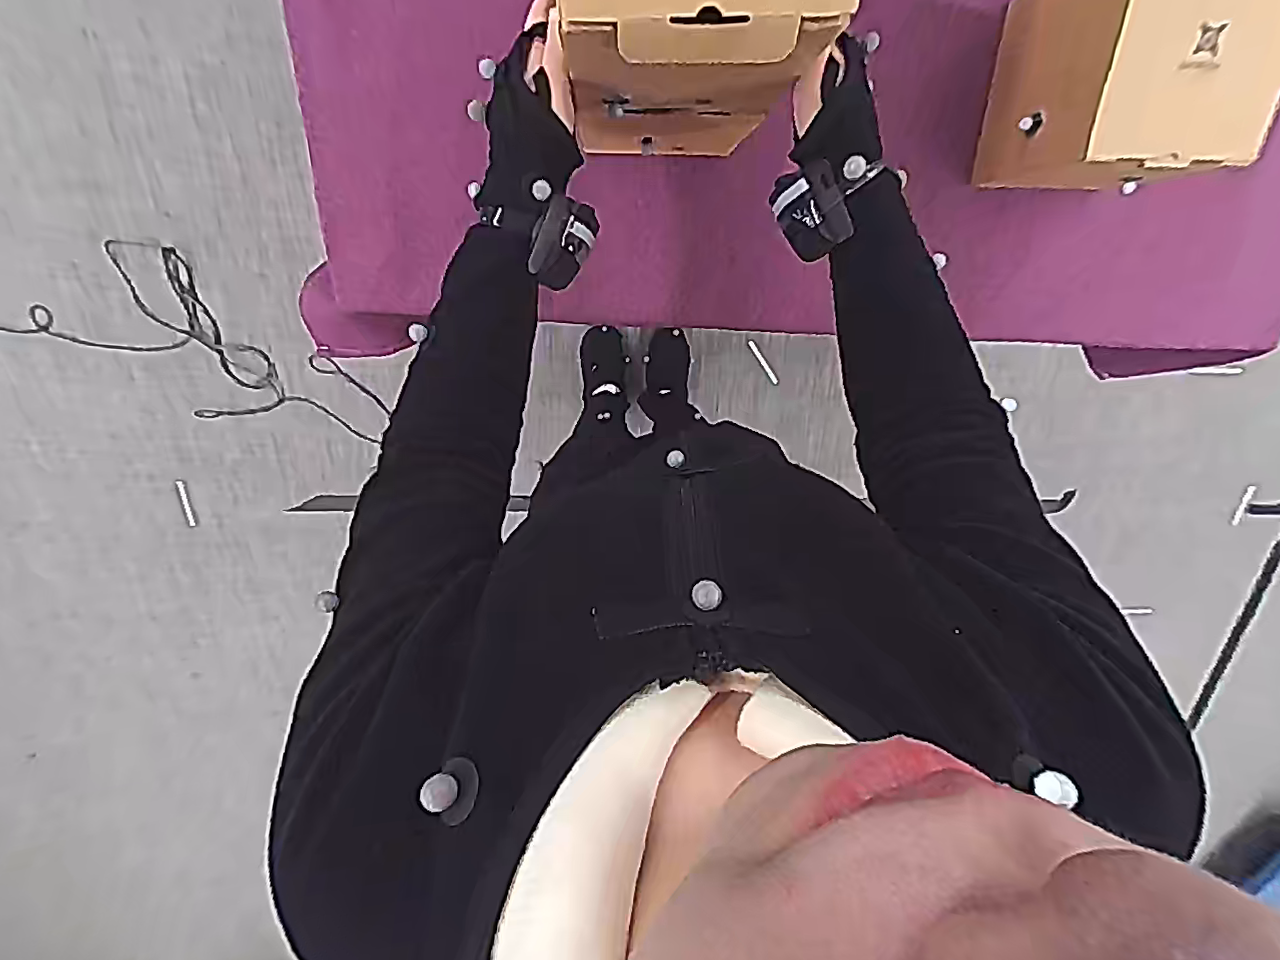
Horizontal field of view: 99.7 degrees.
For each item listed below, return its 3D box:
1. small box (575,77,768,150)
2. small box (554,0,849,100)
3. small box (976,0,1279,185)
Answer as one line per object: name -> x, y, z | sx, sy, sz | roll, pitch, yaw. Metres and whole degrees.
small box -> 0.023, -0.422, 0.497 | 0.168, 0.176, 0.179 | -1, 113, -3
small box -> 0.031, -0.362, 0.343 | 0.168, 0.176, 0.179 | -2, 111, -2
small box -> 0.471, -0.397, 0.530 | 0.168, 0.176, 0.179 | 0, 112, -3
